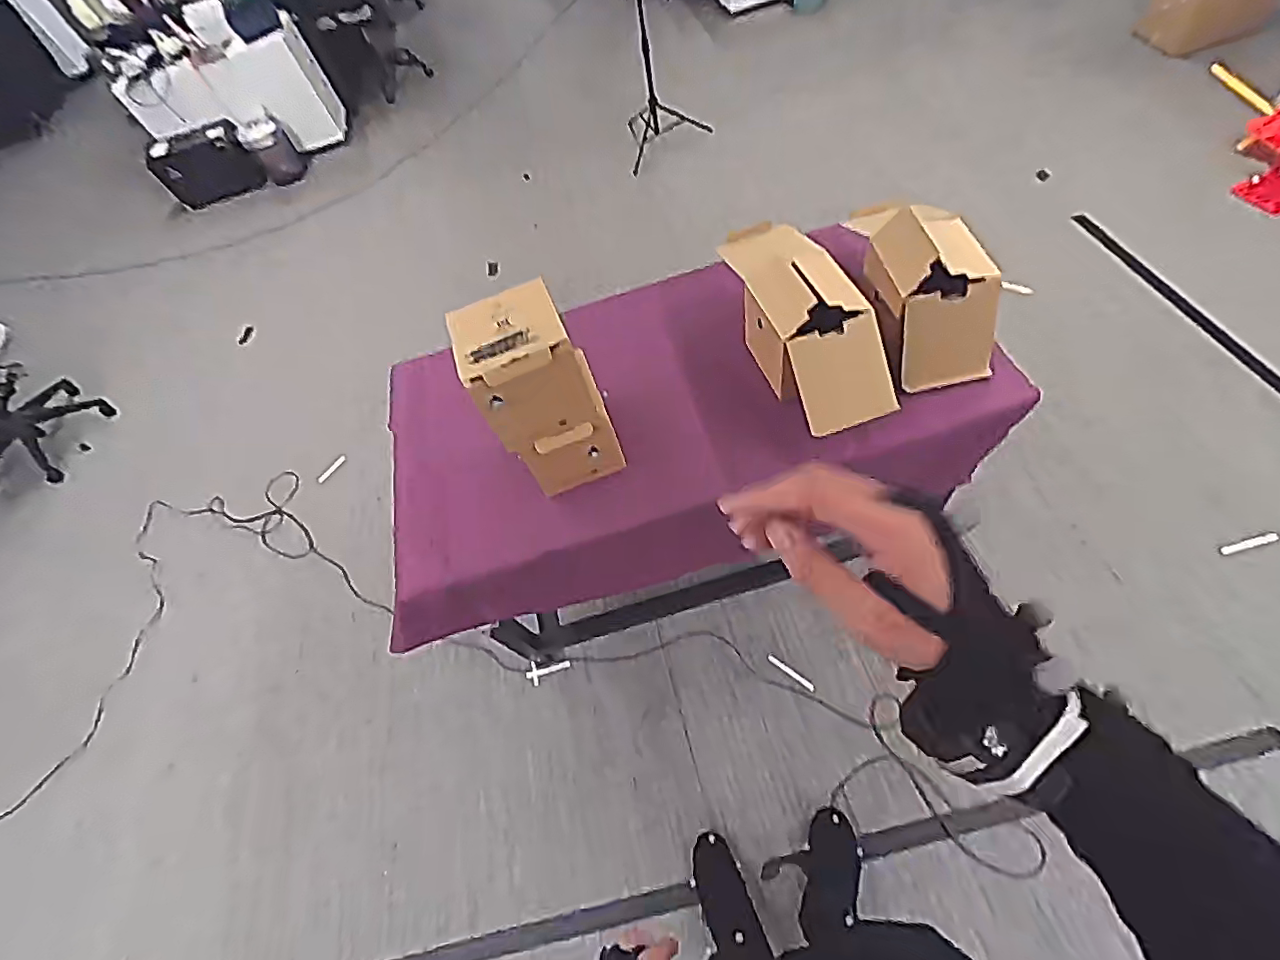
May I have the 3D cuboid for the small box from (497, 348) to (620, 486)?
[{"bbox_3d":[-0.148,-0.108,1.018,0.168,0.176,0.179,-21,58,-1],"label":"small box"}]

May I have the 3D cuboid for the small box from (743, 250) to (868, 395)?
[{"bbox_3d":[0.303,-0.295,1.030,0.168,0.176,0.179,-20,59,1],"label":"small box"}]
